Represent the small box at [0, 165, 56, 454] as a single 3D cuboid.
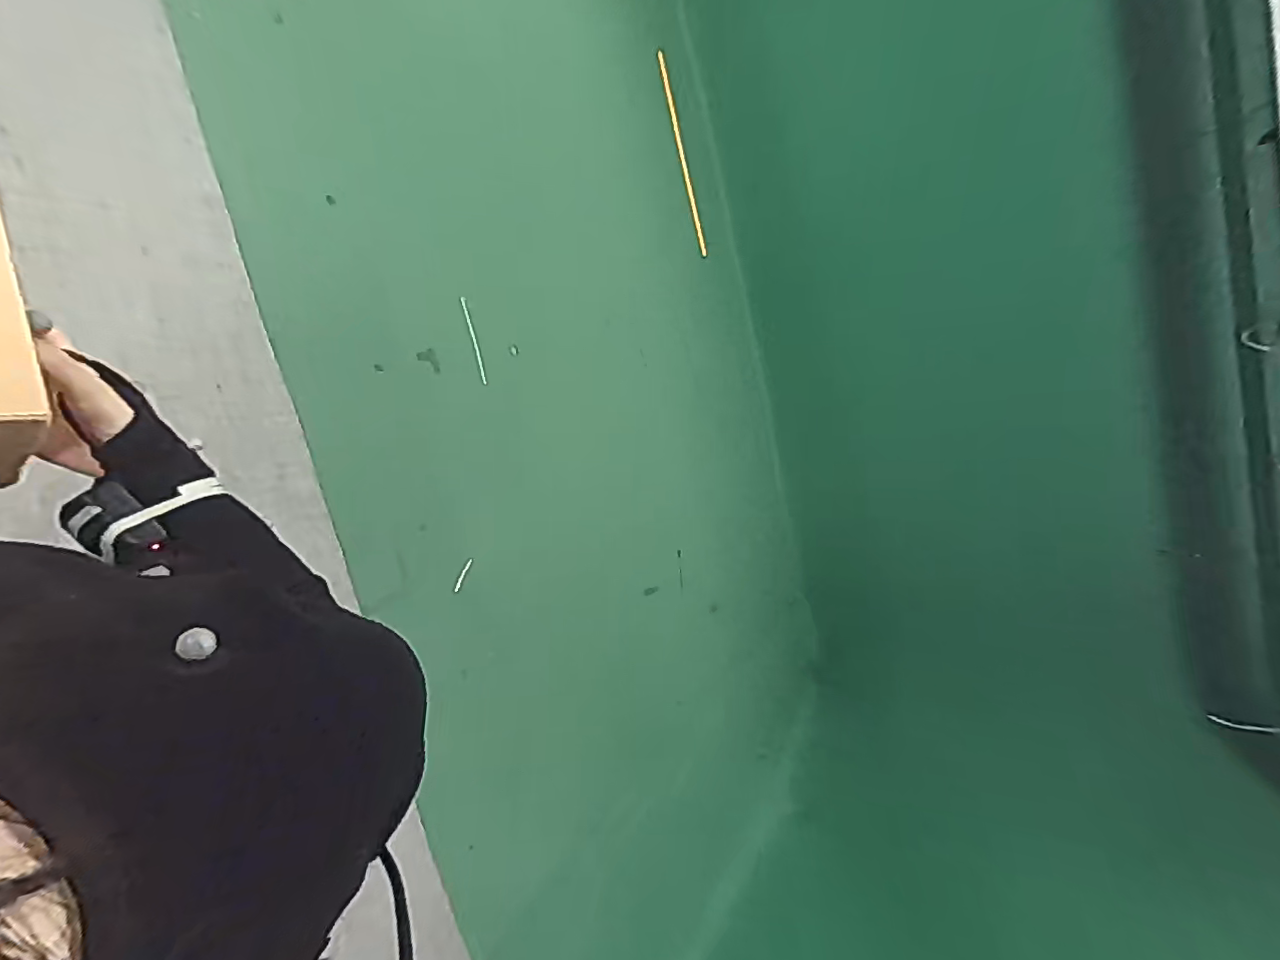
[{"bbox_3d":[-0.490,-0.106,0.310,0.168,0.176,0.179,-14,88,-58],"label":"small box"}]
